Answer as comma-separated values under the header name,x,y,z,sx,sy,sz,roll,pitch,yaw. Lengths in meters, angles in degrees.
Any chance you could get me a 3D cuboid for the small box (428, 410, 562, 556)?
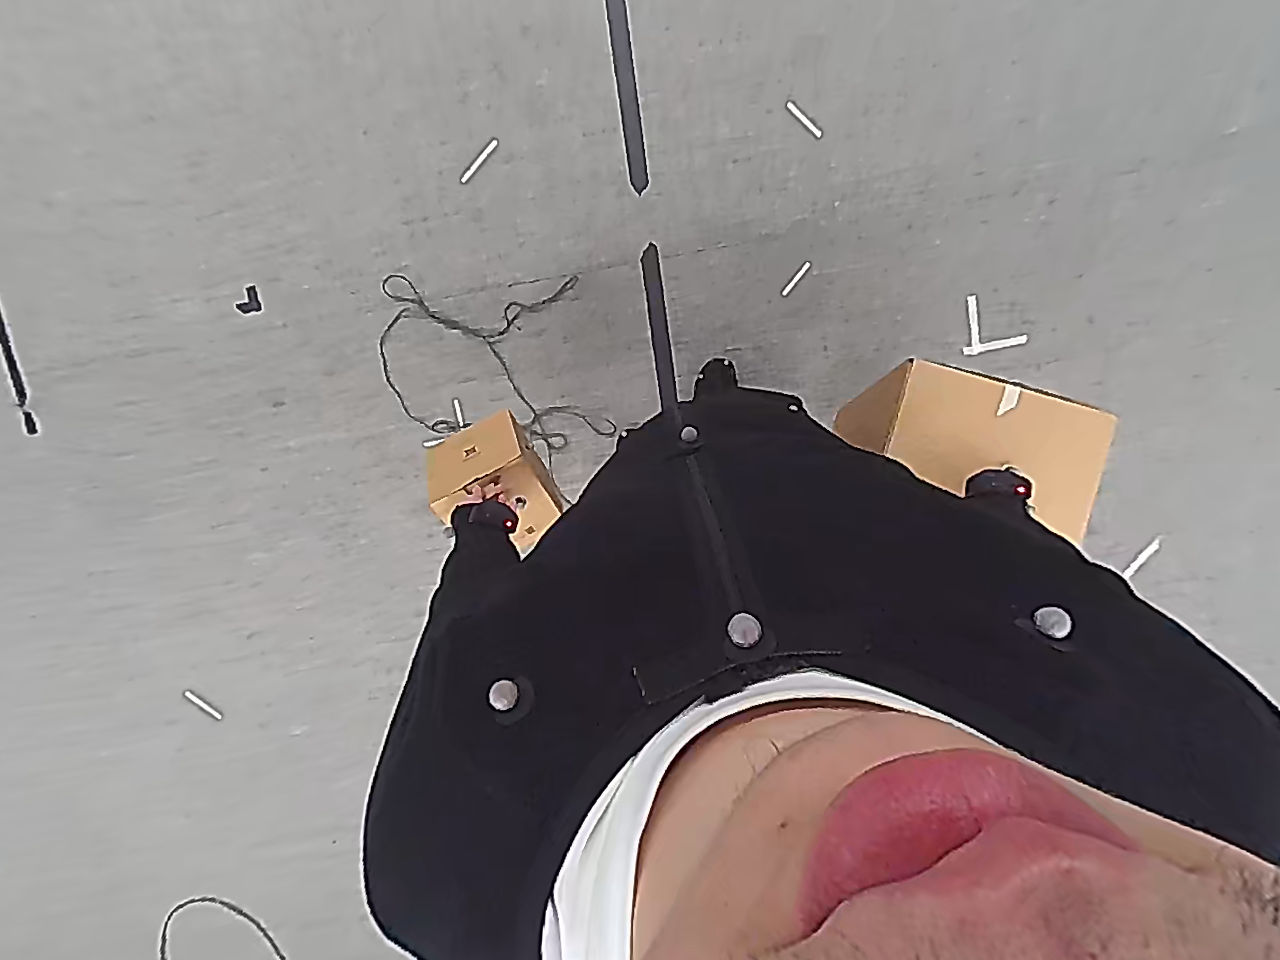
name,x,y,z,sx,sy,sz,roll,pitch,yaw
small box,-0.257,0.011,0.968,0.168,0.179,0.176,-28,130,-3
